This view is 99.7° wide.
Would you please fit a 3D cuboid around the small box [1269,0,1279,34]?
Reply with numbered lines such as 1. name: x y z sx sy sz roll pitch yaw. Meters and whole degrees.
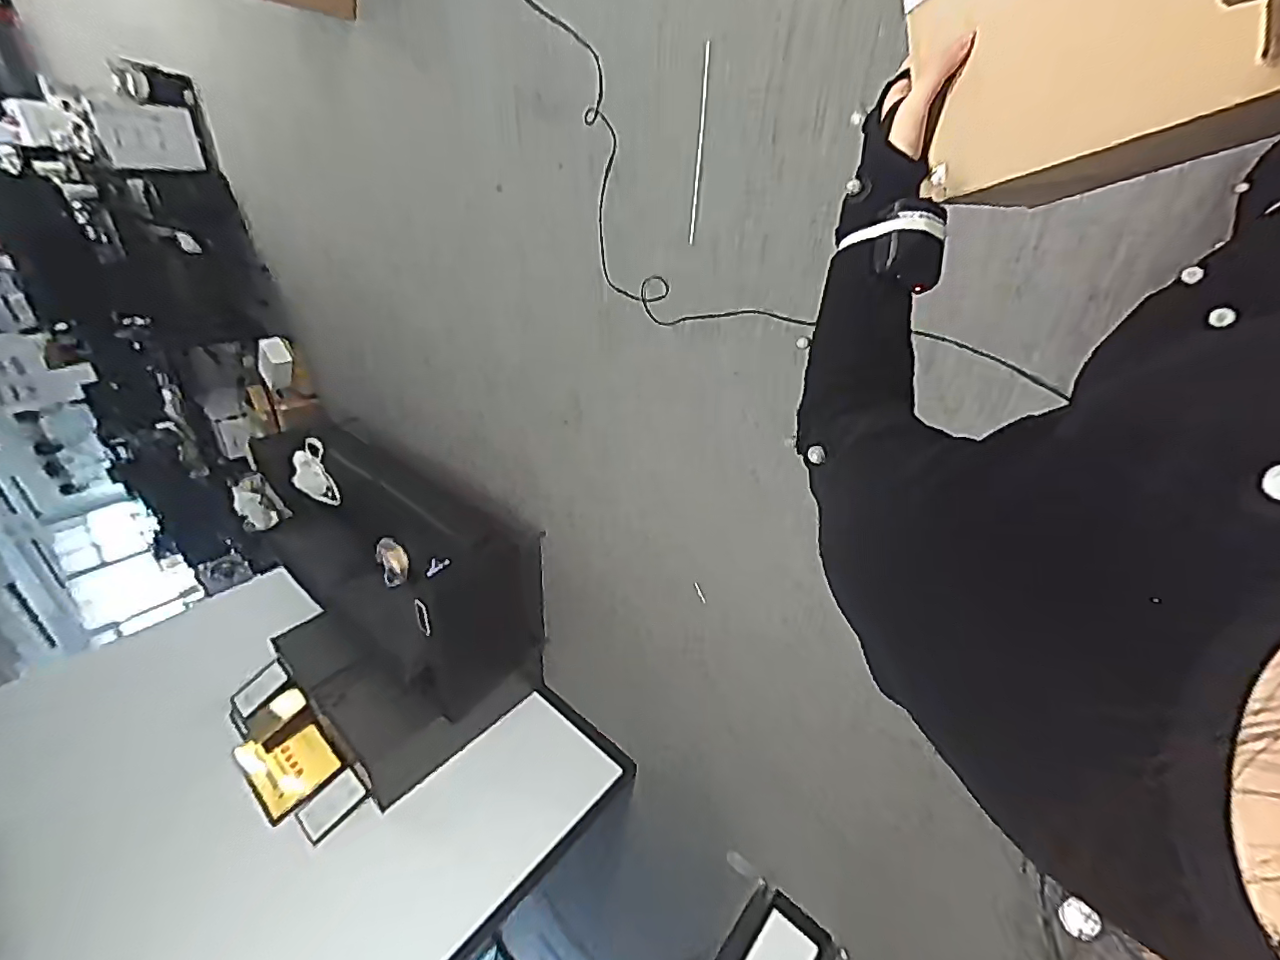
1. small box: 0.355 -0.288 0.183 0.168 0.176 0.179 13 120 45
